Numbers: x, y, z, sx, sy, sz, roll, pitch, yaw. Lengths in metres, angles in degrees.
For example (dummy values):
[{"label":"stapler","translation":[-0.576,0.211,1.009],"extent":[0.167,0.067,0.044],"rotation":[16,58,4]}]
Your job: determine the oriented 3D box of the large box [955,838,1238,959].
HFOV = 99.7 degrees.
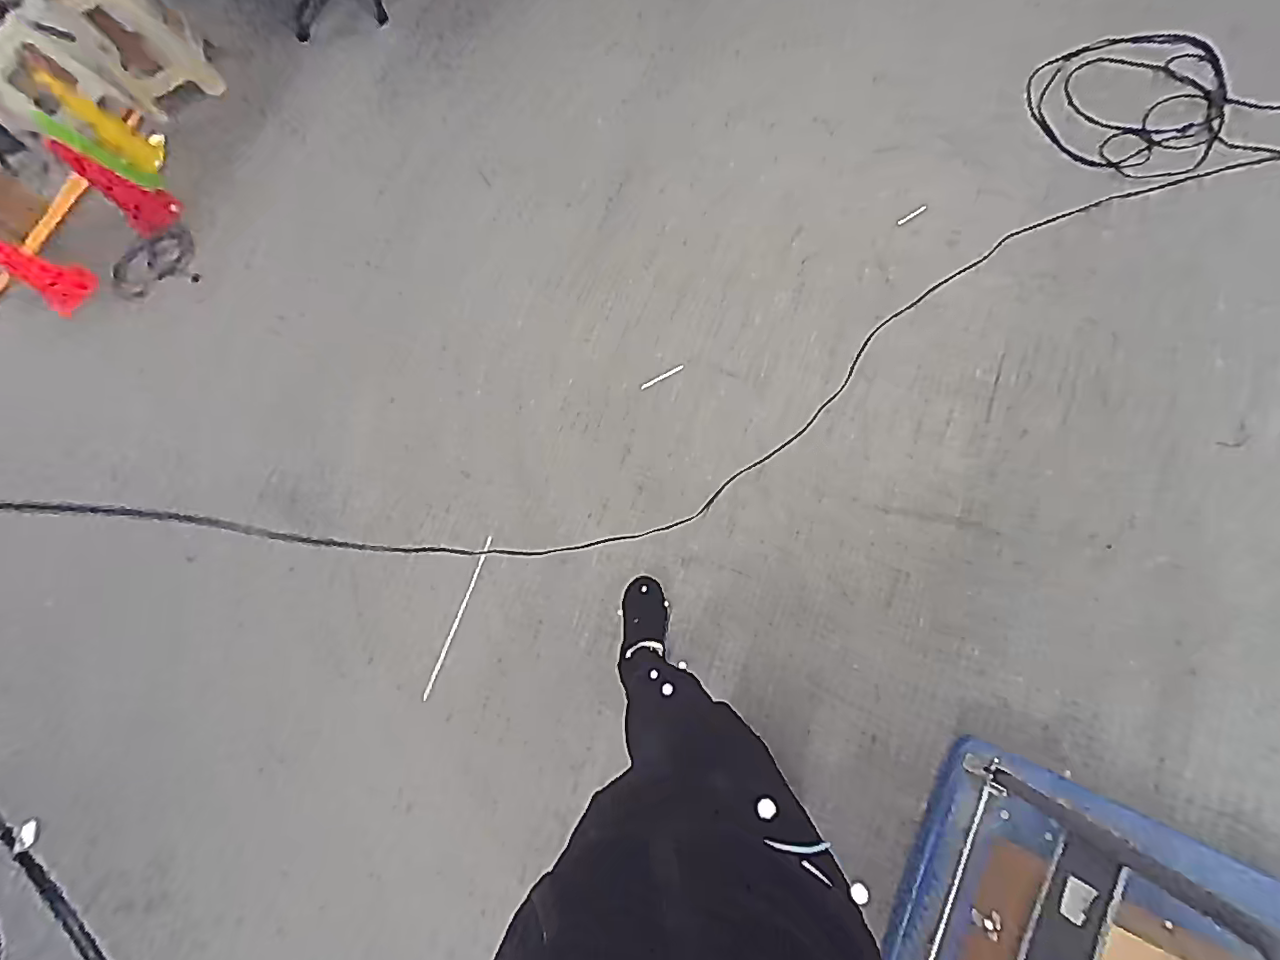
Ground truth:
[{"label":"large box","translation":[0.779,0.863,0.847],"extent":[0.408,0.320,0.320],"rotation":[22,81,15]}]
